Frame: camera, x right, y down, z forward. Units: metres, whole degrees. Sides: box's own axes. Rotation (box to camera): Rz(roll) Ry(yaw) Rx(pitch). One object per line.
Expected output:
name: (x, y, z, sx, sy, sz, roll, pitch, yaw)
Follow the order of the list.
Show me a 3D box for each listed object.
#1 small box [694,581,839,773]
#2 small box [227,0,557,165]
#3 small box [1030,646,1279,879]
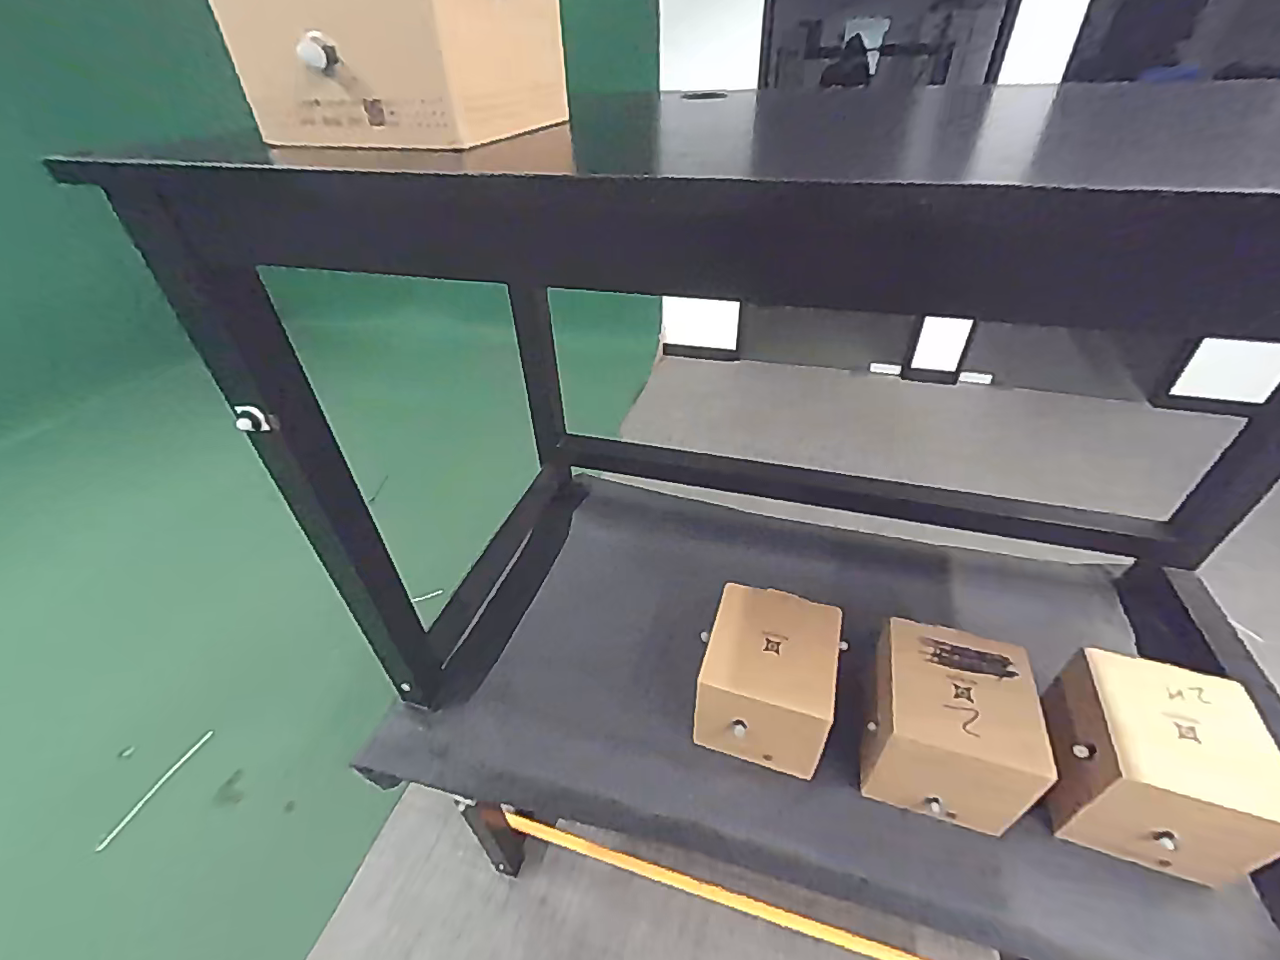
small box: (0.178, 0.279, 0.768, 0.168, 0.176, 0.179, 11, 40, 16)
small box: (-0.170, -0.340, 0.388, 0.168, 0.176, 0.179, 10, 41, 15)
small box: (0.613, 0.342, 0.660, 0.168, 0.176, 0.179, 12, 40, 17)
